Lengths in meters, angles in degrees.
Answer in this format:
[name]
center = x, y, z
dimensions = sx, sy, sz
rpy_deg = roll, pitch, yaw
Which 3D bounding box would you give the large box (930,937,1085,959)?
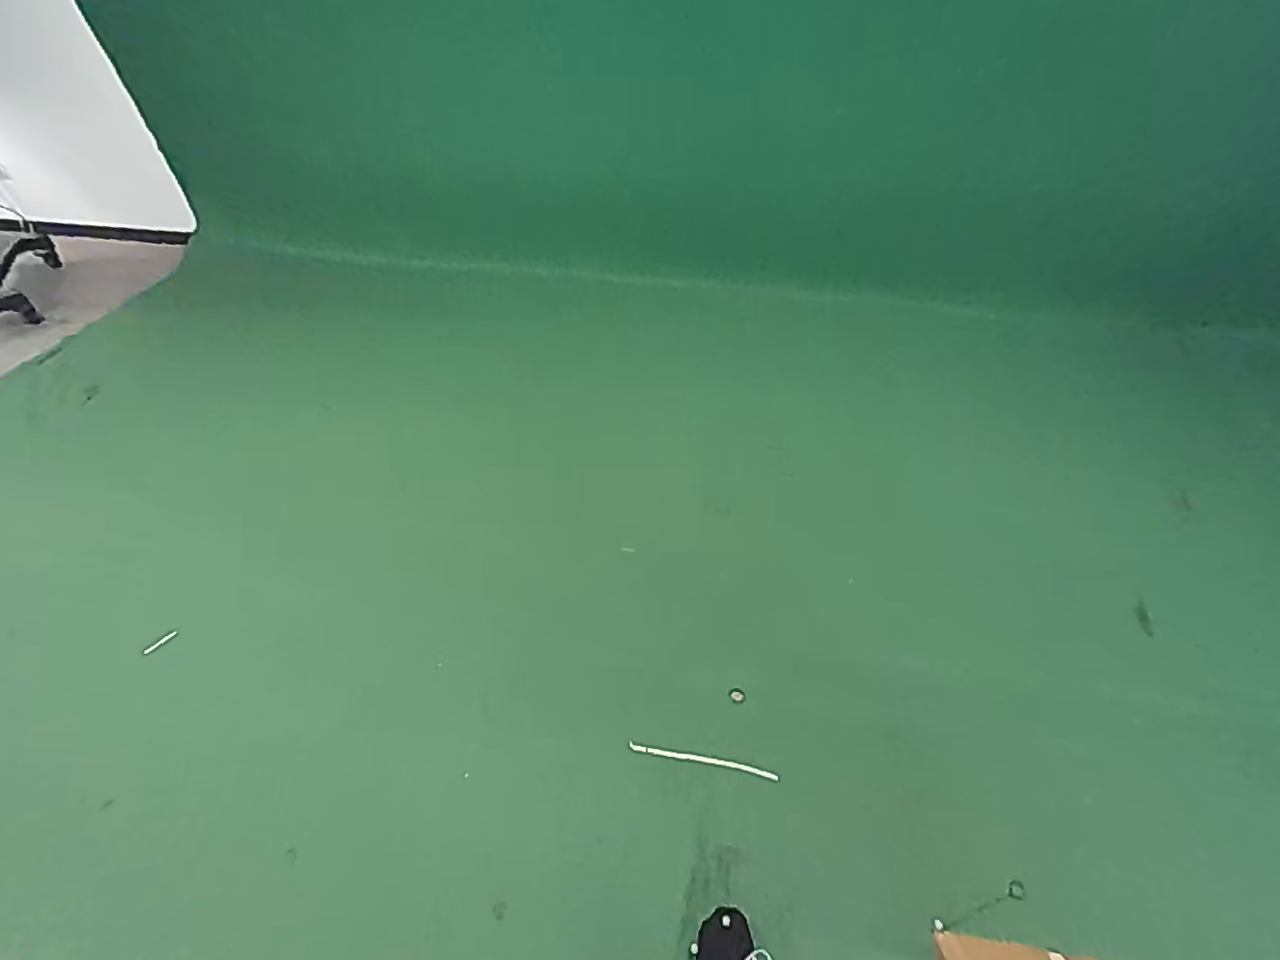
[large box]
center = 0.538, 0.797, 0.558
dimensions = 0.320, 0.408, 0.320
rpy_deg = 5, 81, 9
